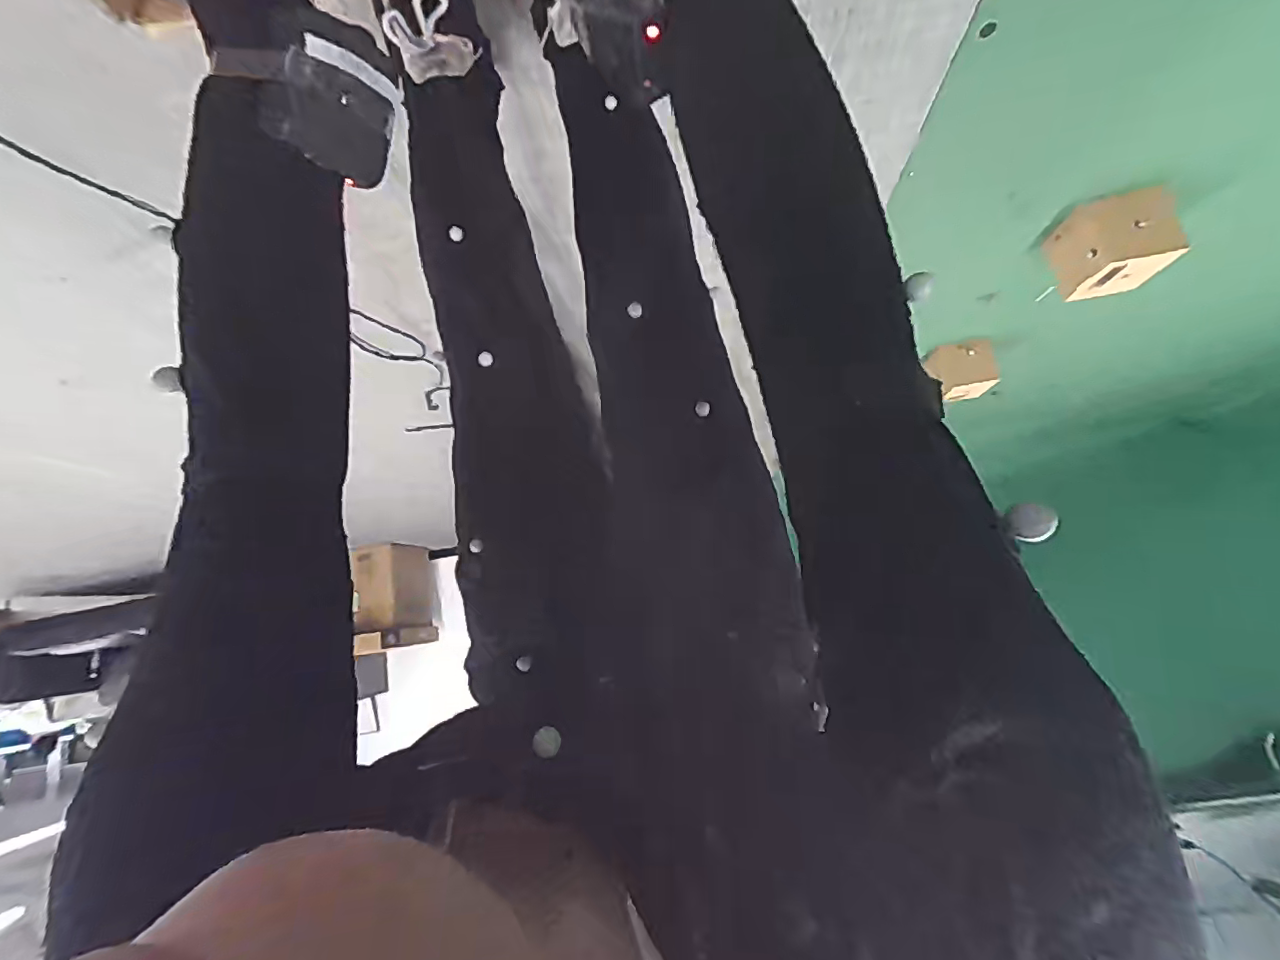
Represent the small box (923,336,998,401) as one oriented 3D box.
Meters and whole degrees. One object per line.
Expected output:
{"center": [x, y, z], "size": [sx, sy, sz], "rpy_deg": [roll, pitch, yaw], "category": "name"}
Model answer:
{"center": [1.166, -0.407, 1.984], "size": [0.168, 0.176, 0.179], "rpy_deg": [-10, 167, 4], "category": "small box"}
